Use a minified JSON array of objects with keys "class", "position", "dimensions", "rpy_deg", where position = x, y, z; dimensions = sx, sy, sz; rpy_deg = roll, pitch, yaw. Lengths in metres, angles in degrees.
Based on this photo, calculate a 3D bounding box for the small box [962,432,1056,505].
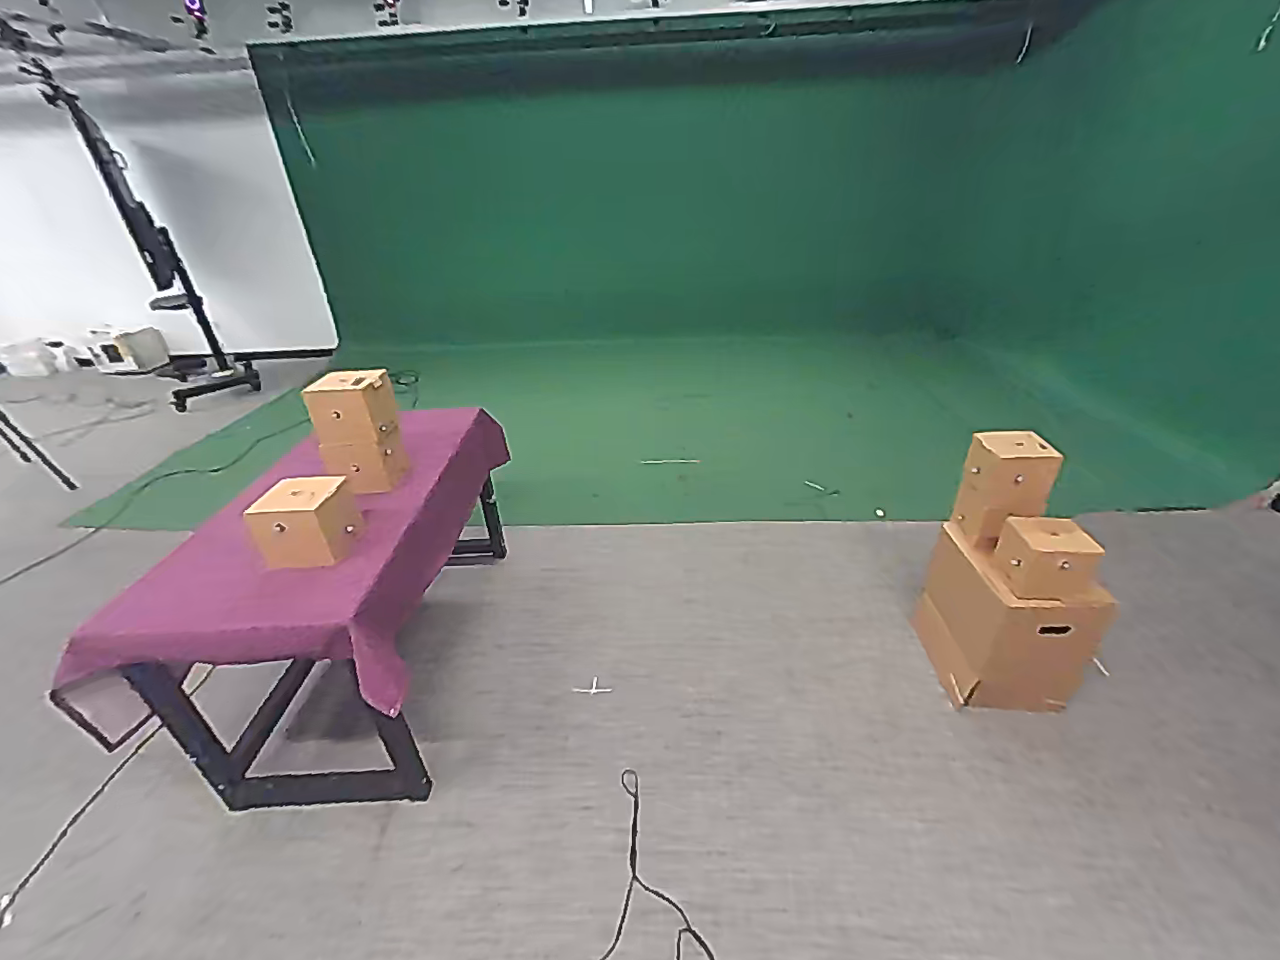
[{"class":"small box","position":[1.119,-0.033,1.660],"dimensions":[0.179,0.176,0.168],"rpy_deg":[-2,31,6]}]

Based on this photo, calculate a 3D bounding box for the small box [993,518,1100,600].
[{"class":"small box","position":[1.137,0.224,1.535],"dimensions":[0.179,0.176,0.168],"rpy_deg":[1,29,6]}]

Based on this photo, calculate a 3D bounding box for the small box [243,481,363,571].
[{"class":"small box","position":[-0.841,0.118,1.369],"dimensions":[0.179,0.176,0.168],"rpy_deg":[-2,30,2]}]

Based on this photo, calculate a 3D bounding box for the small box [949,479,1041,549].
[{"class":"small box","position":[1.135,0.109,1.742],"dimensions":[0.179,0.176,0.168],"rpy_deg":[-3,31,5]}]

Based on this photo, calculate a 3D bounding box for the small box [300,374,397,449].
[{"class":"small box","position":[-0.849,-0.201,1.599],"dimensions":[0.179,0.176,0.168],"rpy_deg":[-3,30,3]}]
